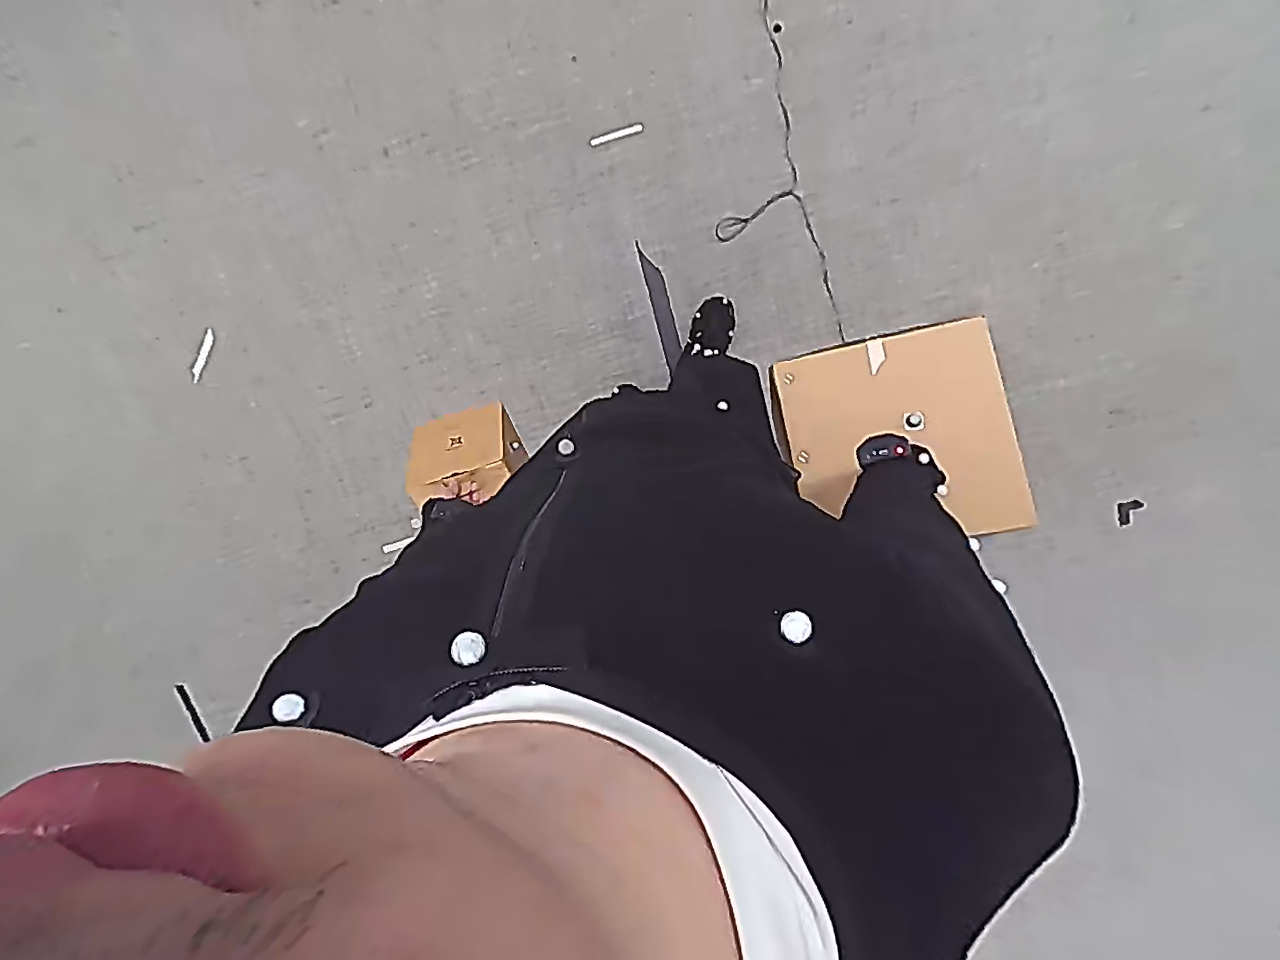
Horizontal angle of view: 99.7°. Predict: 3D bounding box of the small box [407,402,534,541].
[{"bbox_3d":[-0.299,-0.009,0.987,0.168,0.179,0.176,-16,134,0],"label":"small box"}]
